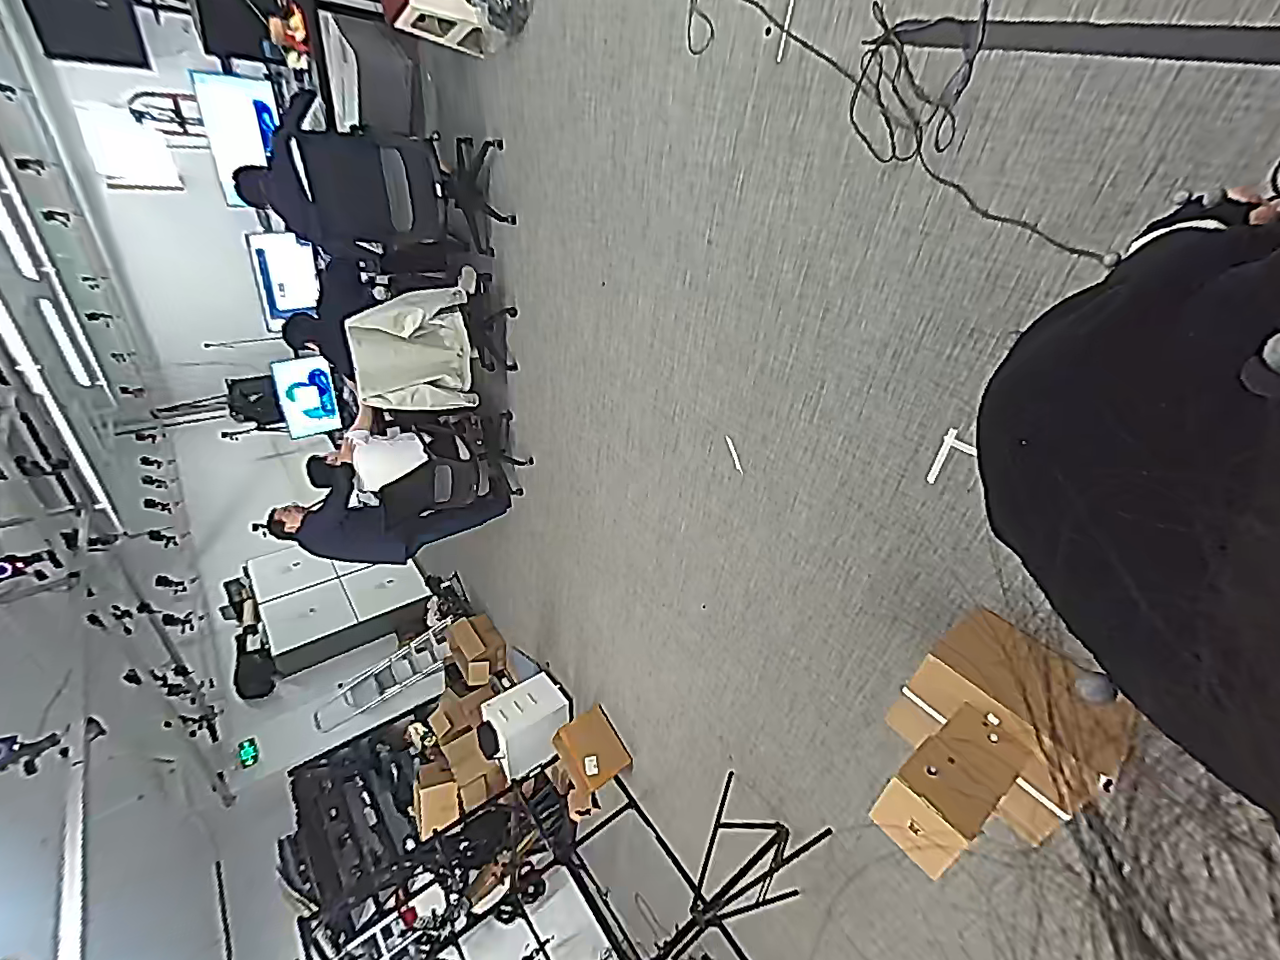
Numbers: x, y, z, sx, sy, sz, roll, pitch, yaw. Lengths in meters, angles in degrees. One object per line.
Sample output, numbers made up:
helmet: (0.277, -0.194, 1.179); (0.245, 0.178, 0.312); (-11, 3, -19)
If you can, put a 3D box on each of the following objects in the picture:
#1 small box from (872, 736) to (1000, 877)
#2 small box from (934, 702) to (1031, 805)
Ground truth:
small box: (0.652, 0.708, 1.190); (0.168, 0.176, 0.179); (38, 135, 40)
small box: (0.781, 0.671, 1.282); (0.168, 0.176, 0.179); (38, 133, 38)
